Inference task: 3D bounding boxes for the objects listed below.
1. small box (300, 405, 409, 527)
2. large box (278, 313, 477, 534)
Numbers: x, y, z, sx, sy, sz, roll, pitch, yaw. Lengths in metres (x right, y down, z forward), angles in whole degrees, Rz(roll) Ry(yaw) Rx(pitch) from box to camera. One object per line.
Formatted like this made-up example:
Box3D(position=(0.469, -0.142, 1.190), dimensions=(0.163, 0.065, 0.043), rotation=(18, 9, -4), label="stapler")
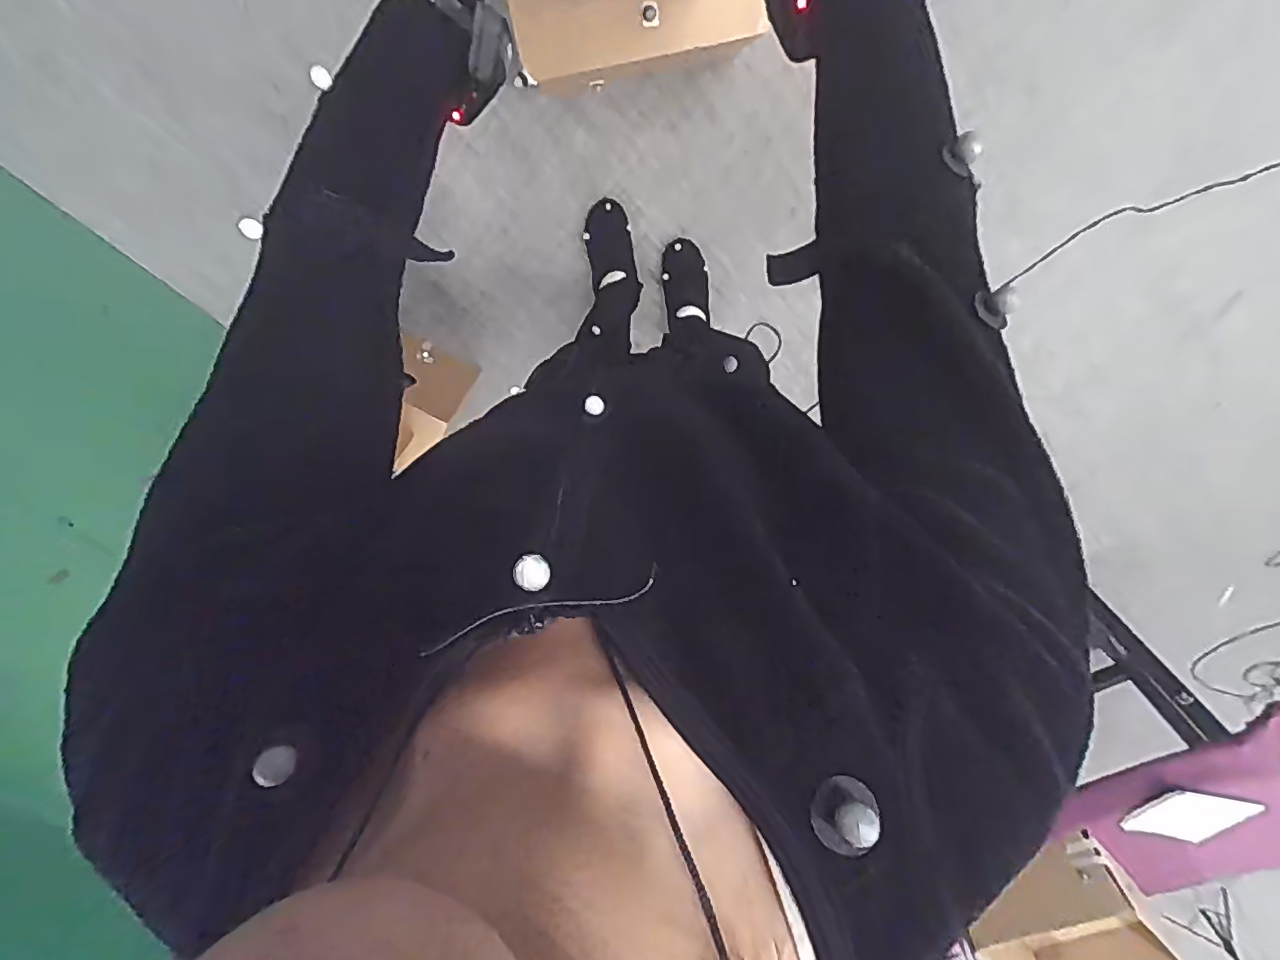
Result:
Box3D(position=(-0.632, -0.035, 1.175), dimensions=(0.179, 0.176, 0.168), rotation=(29, 118, -18), label="small box")
Box3D(position=(-0.668, -0.145, 1.394), dimensions=(0.320, 0.320, 0.408), rotation=(29, 120, -17), label="large box")
